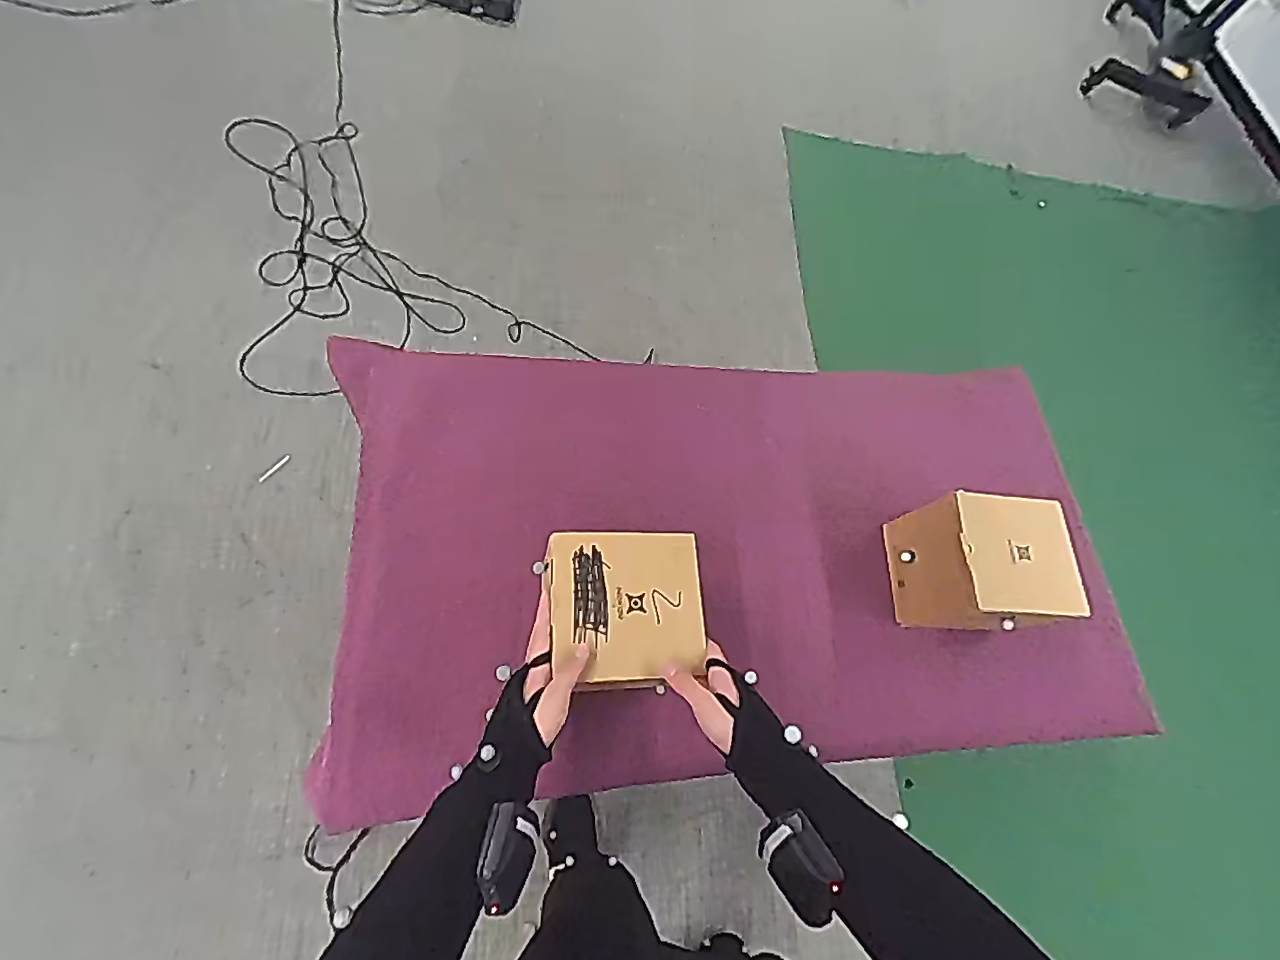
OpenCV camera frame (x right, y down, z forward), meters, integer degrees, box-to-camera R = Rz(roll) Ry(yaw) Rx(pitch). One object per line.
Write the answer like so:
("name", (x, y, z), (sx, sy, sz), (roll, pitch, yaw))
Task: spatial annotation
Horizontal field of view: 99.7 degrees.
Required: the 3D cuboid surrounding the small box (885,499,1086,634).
("small box", (0.505, 0.139, 0.815), (0.179, 0.176, 0.168), (6, 68, -10))
